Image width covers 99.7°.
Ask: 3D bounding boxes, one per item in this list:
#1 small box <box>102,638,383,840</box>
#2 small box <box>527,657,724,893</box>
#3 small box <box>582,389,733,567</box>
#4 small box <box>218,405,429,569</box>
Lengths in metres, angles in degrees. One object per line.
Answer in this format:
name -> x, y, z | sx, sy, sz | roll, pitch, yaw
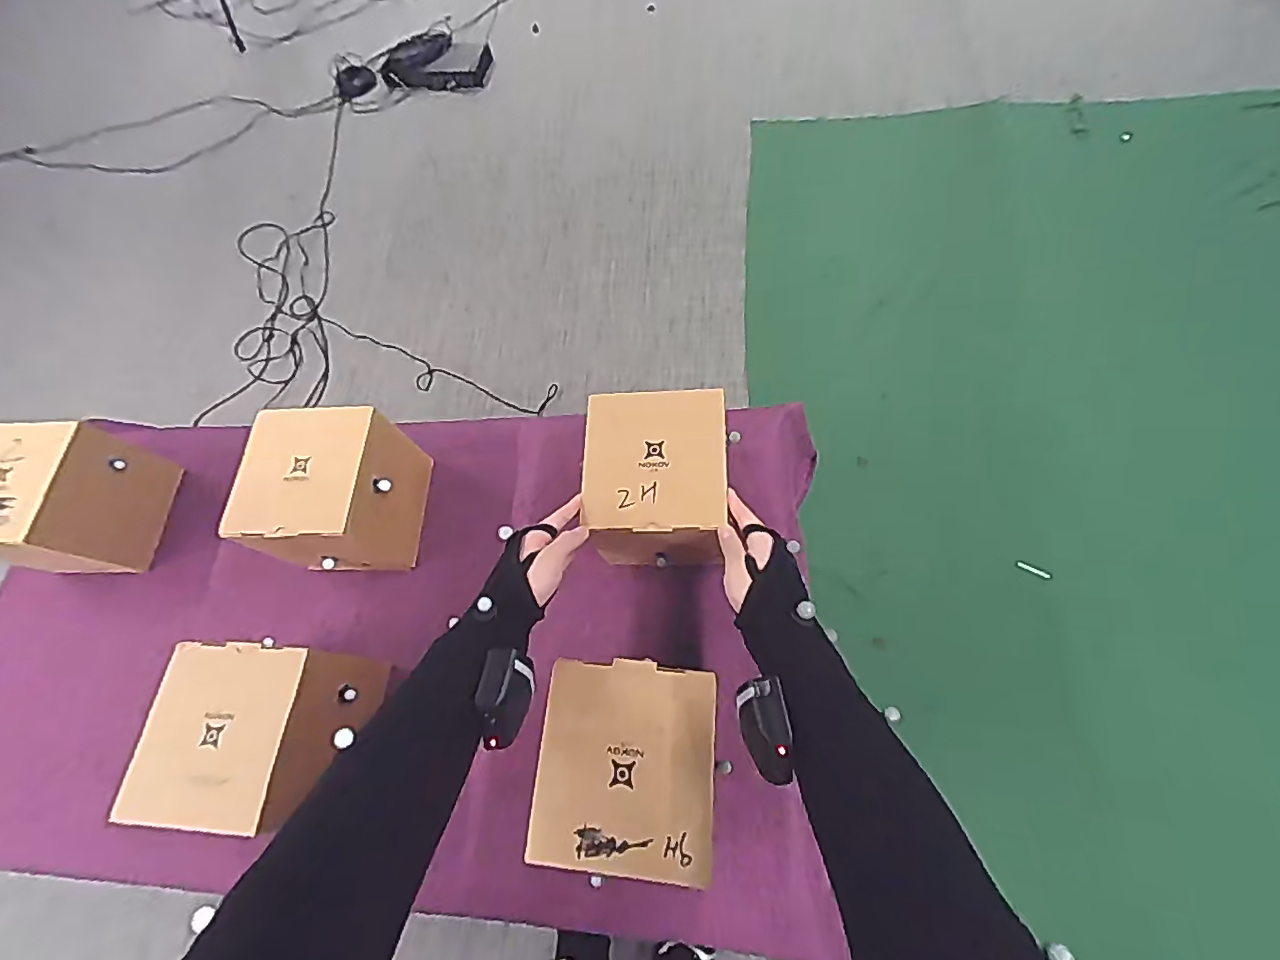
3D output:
small box -> -0.427, 0.288, 0.620 | 0.168, 0.176, 0.179 | 1, 66, 8
small box -> -0.001, 0.295, 0.565 | 0.168, 0.176, 0.179 | 2, 64, 9
small box -> 0.031, 0.004, 0.684 | 0.168, 0.176, 0.179 | -1, 69, 8
small box -> -0.409, 0.015, 0.737 | 0.168, 0.176, 0.179 | 0, 68, 6
